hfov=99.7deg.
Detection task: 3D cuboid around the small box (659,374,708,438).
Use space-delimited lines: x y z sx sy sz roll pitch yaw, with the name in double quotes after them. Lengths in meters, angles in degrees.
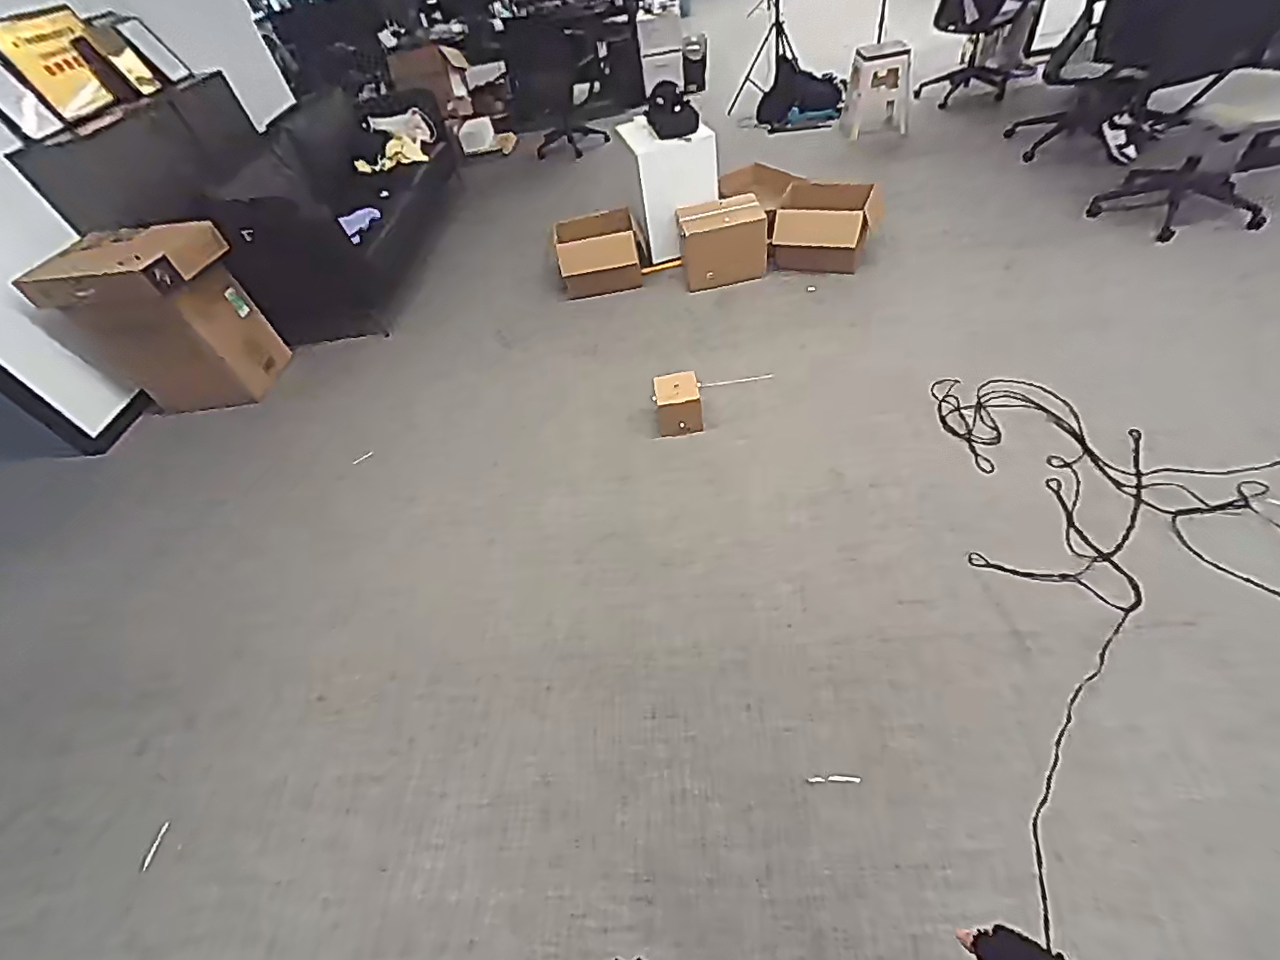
0.171 -0.291 2.137 0.168 0.176 0.179 -9 47 5 "small box"
